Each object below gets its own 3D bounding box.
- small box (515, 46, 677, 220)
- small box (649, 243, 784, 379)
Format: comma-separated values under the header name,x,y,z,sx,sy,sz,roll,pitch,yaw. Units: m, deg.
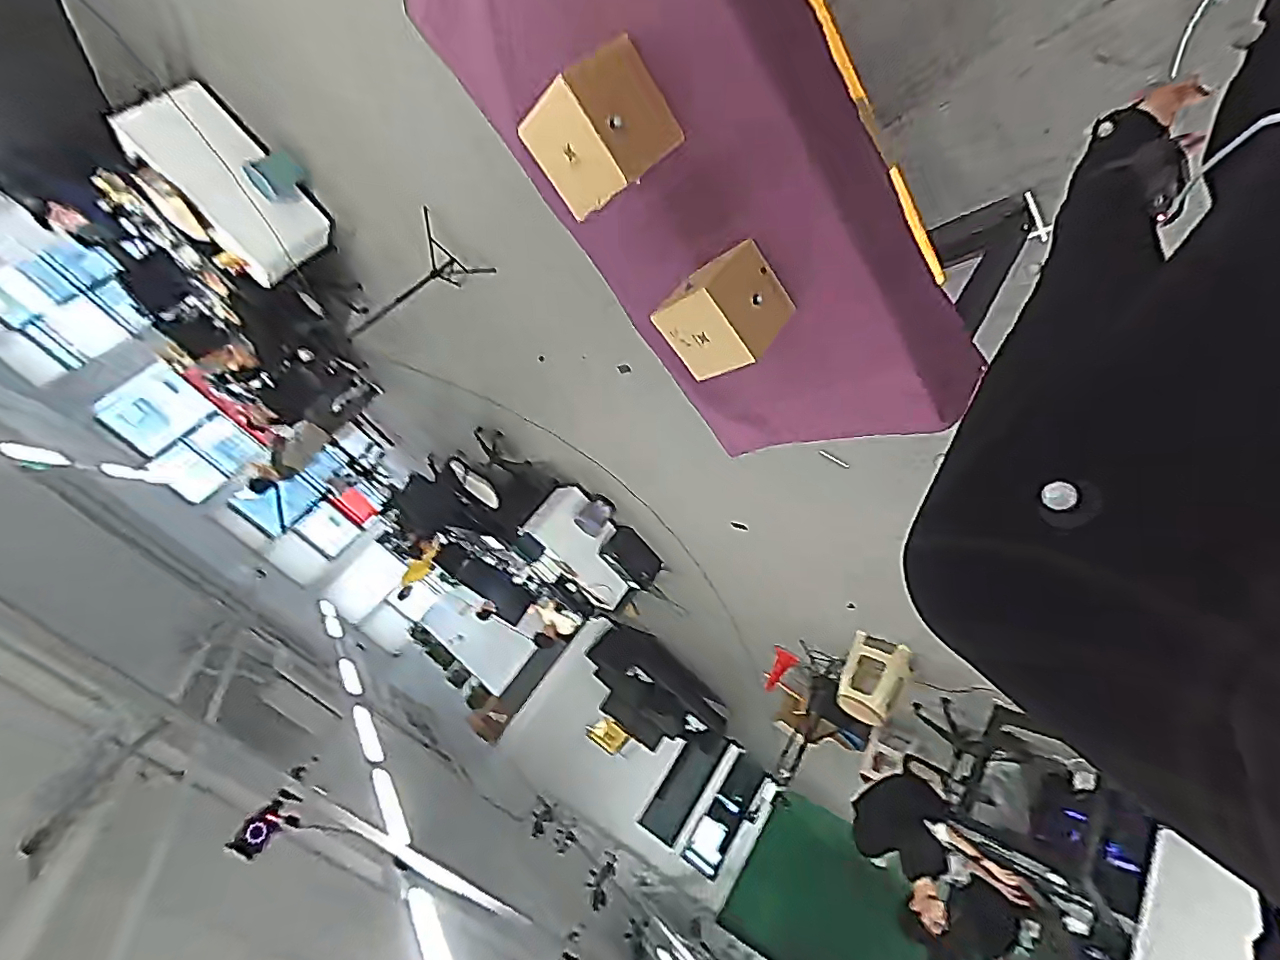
name,x,y,z,sx,sy,sz,roll,pitch,yaw
small box,-0.072,-0.591,0.922,0.179,0.176,0.168,50,154,-25
small box,0.156,-0.328,1.060,0.168,0.176,0.179,49,155,-21
